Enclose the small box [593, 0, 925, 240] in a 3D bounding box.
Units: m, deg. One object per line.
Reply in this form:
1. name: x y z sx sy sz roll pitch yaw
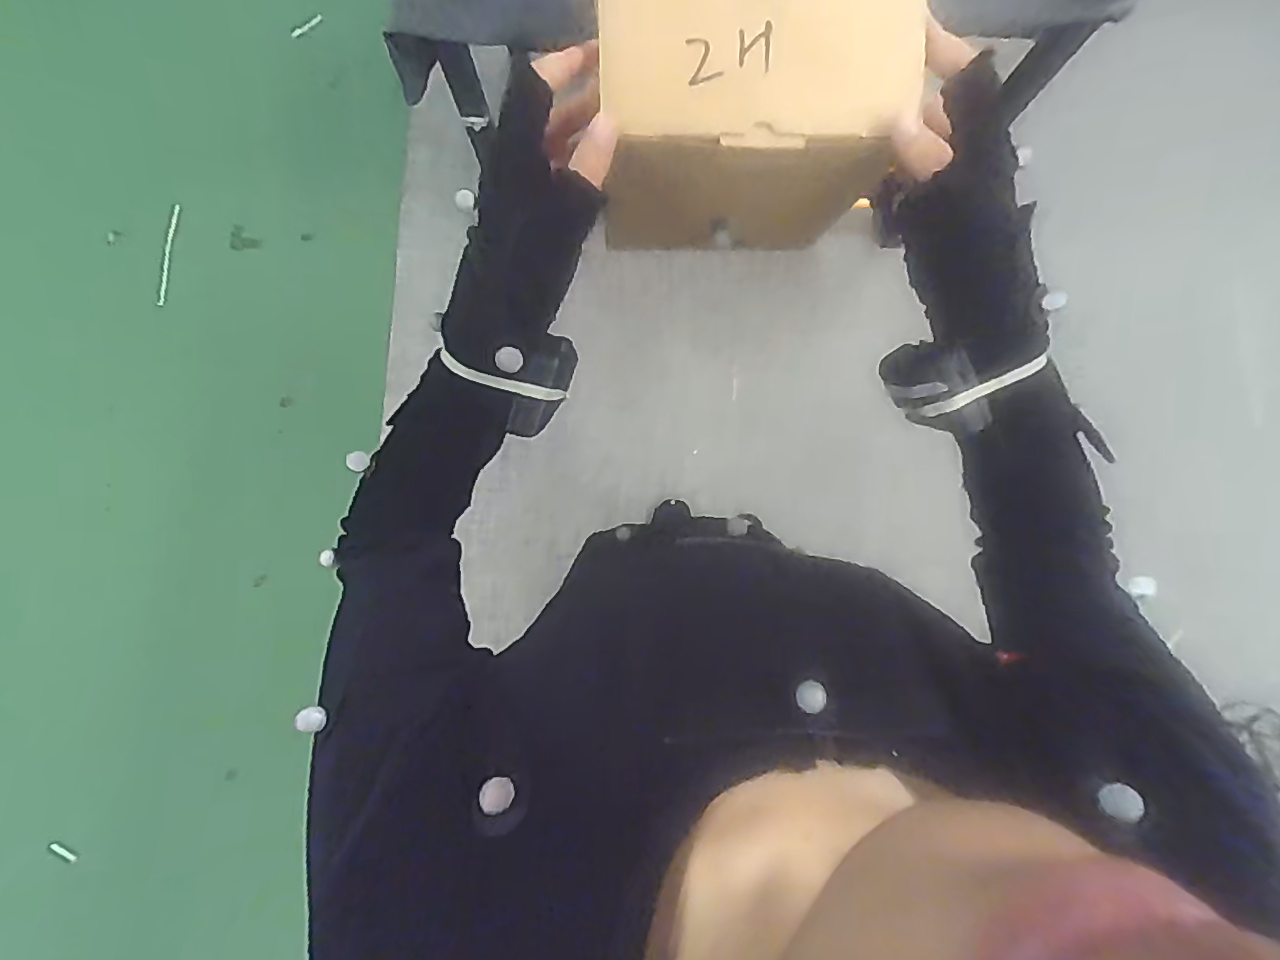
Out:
1. small box: 0.055 -0.274 0.341 0.168 0.176 0.179 -1 94 -2
